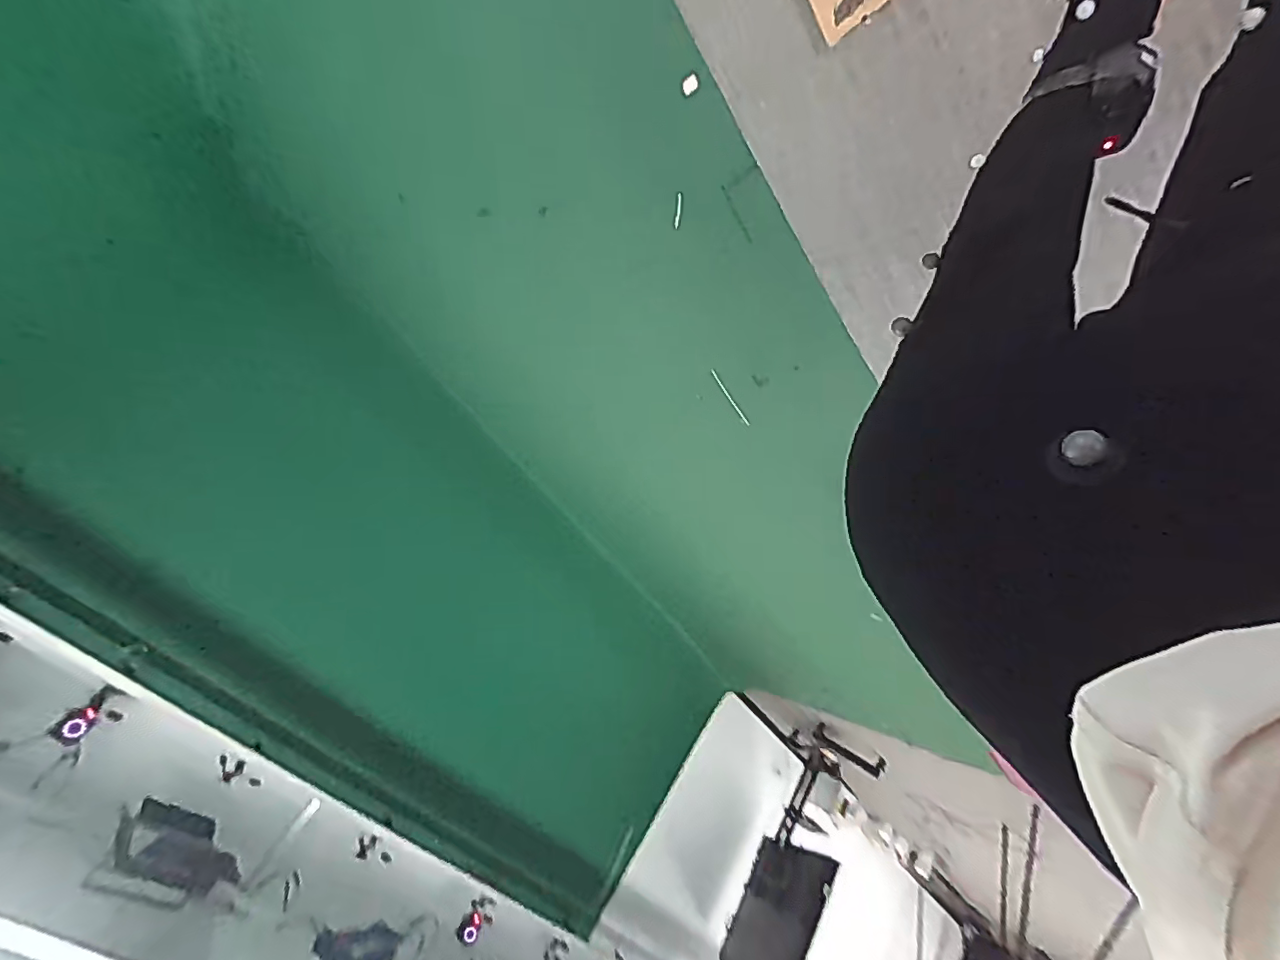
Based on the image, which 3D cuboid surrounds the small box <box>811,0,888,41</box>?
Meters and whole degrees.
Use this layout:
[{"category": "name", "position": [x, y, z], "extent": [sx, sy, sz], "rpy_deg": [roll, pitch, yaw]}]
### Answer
[{"category": "small box", "position": [0.437, -1.026, 1.056], "extent": [0.168, 0.176, 0.179], "rpy_deg": [-2, 133, 52]}]
